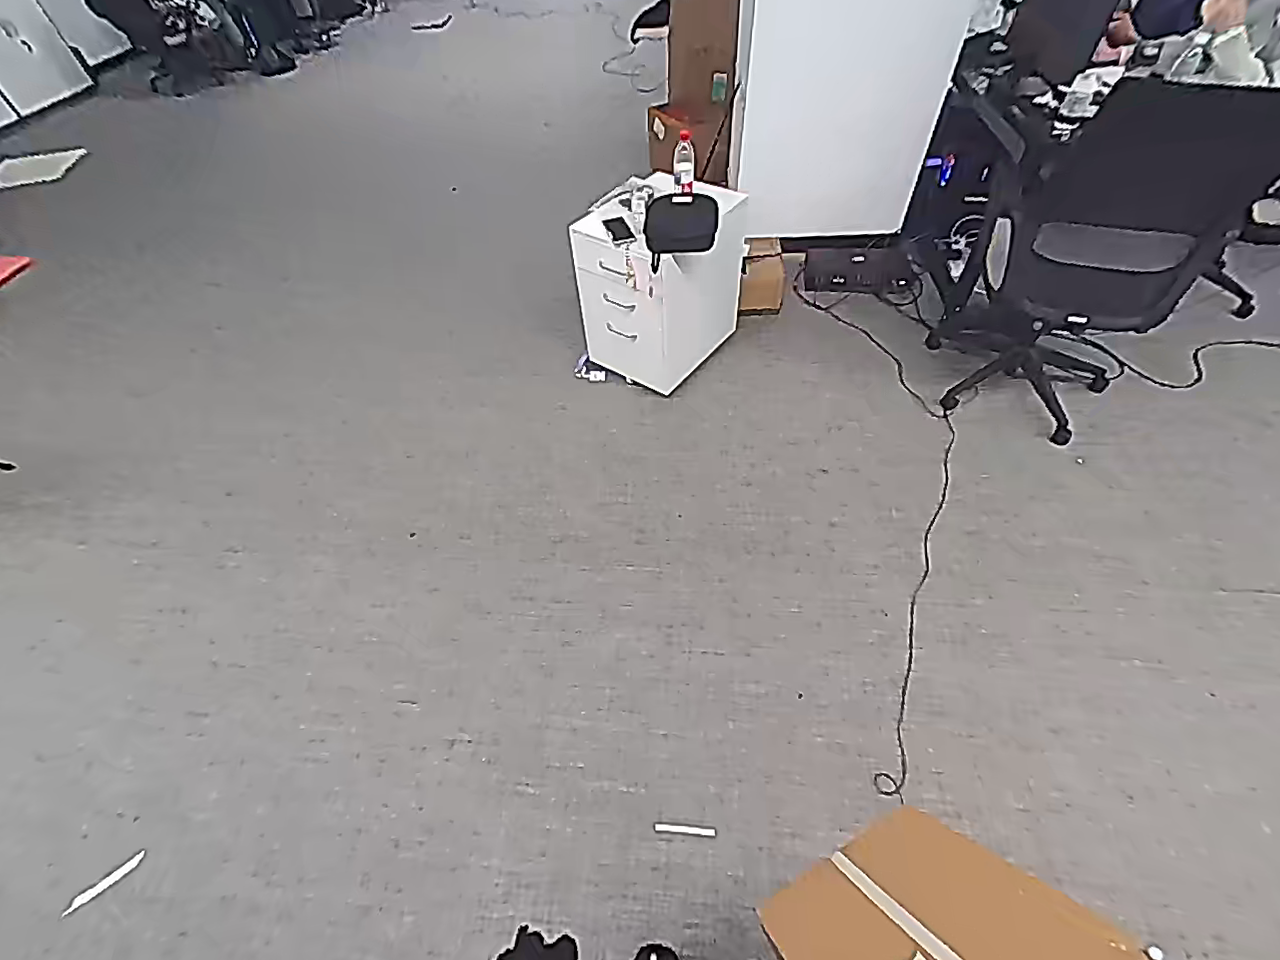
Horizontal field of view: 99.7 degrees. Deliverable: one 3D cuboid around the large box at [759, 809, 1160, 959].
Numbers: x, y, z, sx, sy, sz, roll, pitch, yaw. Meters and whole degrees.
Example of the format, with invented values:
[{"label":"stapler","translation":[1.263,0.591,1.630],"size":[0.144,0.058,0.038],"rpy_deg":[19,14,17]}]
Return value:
[{"label":"large box","translation":[0.414,0.708,0.675],"size":[0.320,0.408,0.320],"rpy_deg":[-25,83,-13]}]
